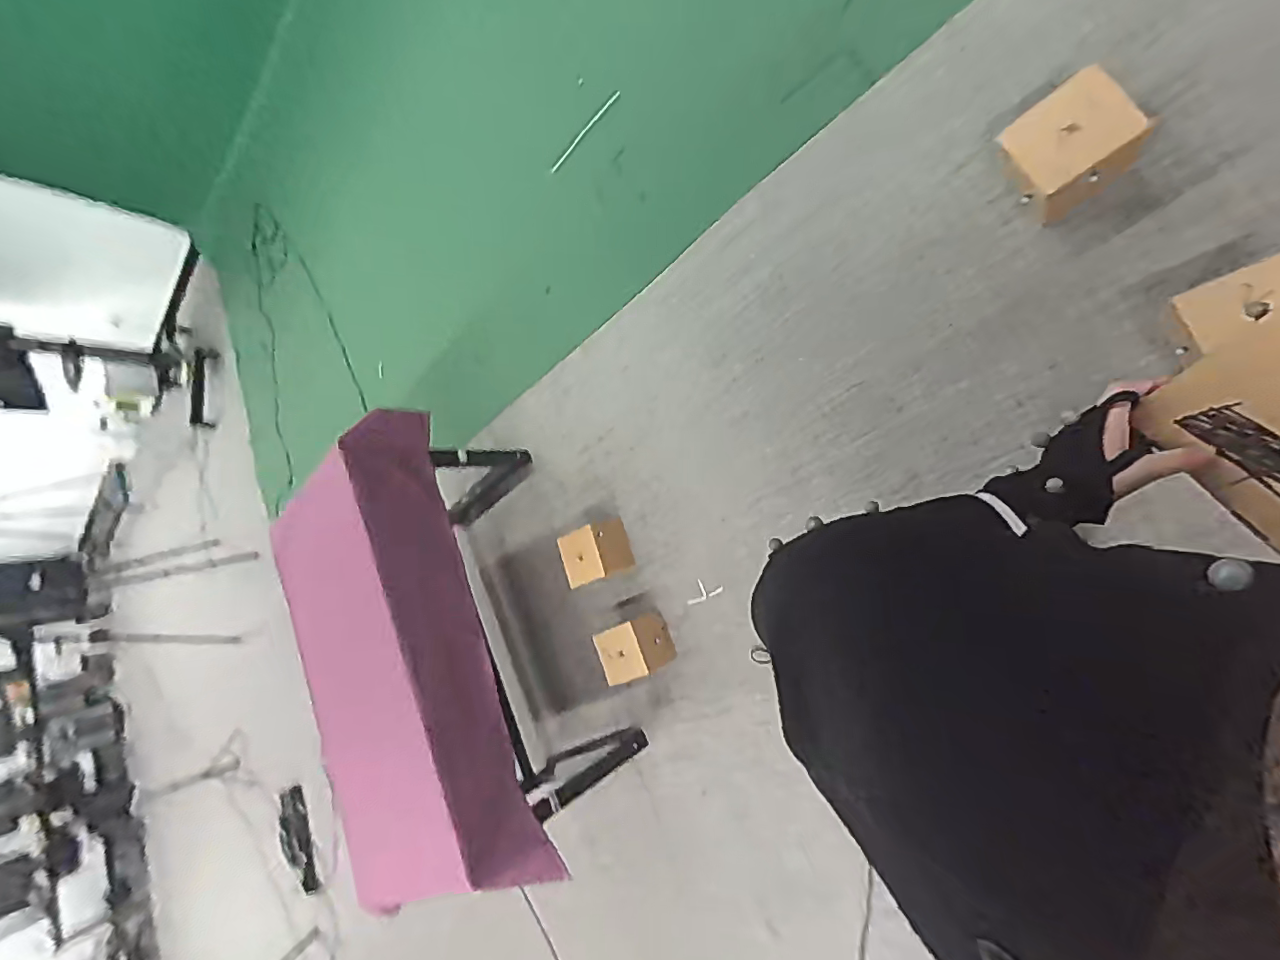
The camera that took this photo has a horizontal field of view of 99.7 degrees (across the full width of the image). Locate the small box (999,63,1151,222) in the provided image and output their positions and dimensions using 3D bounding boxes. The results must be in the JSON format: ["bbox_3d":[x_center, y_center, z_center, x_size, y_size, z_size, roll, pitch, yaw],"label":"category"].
[{"bbox_3d":[0.855,-0.654,1.077,0.179,0.176,0.168,-32,74,32],"label":"small box"}]

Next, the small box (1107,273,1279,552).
[{"bbox_3d":[0.534,-0.075,0.414,0.168,0.176,0.179,57,145,23],"label":"small box"}]
